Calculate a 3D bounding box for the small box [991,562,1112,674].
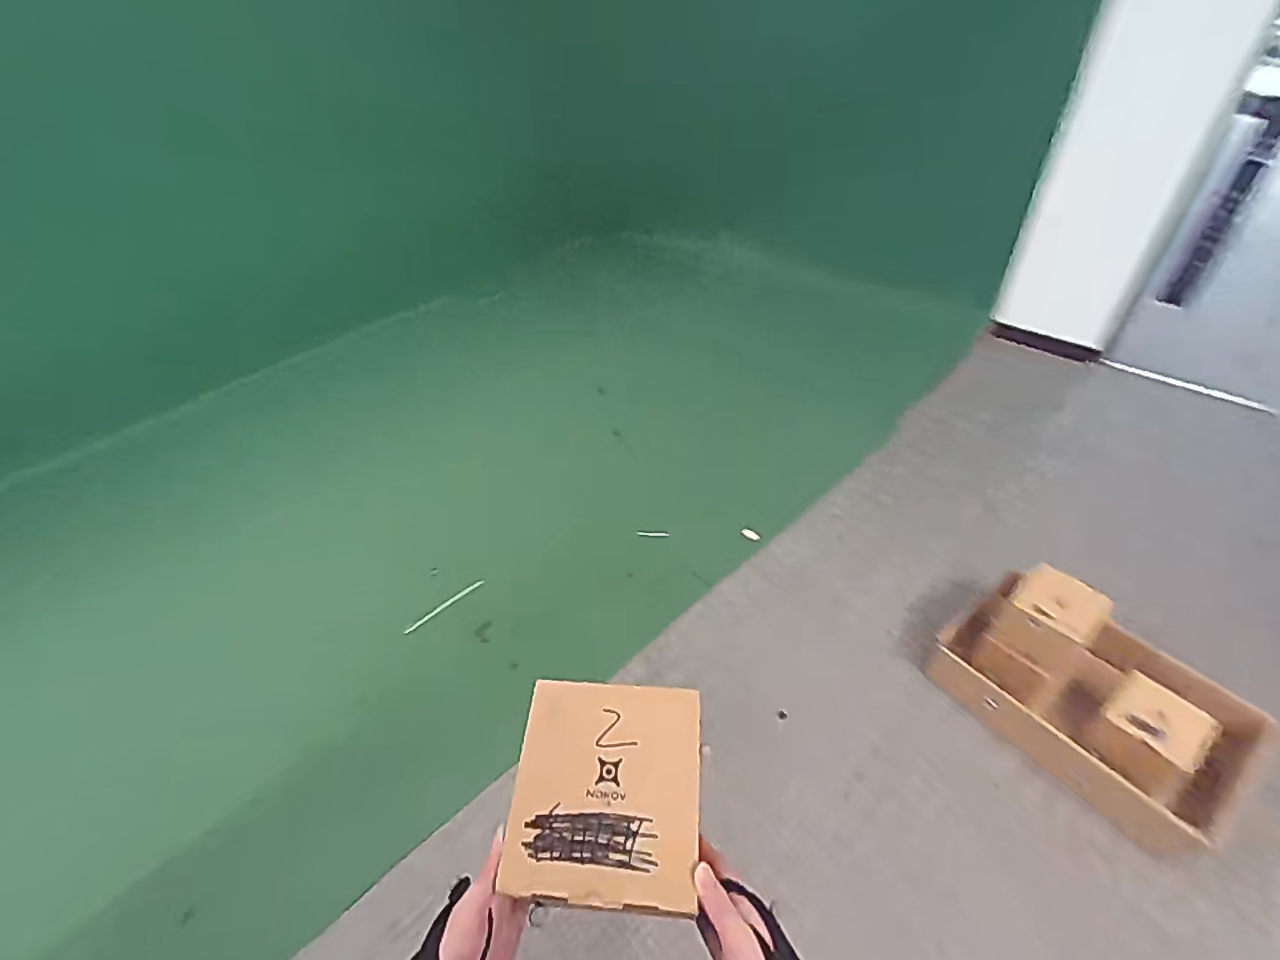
[{"bbox_3d":[1.031,0.350,1.370,0.179,0.176,0.168,-33,48,-25],"label":"small box"}]
